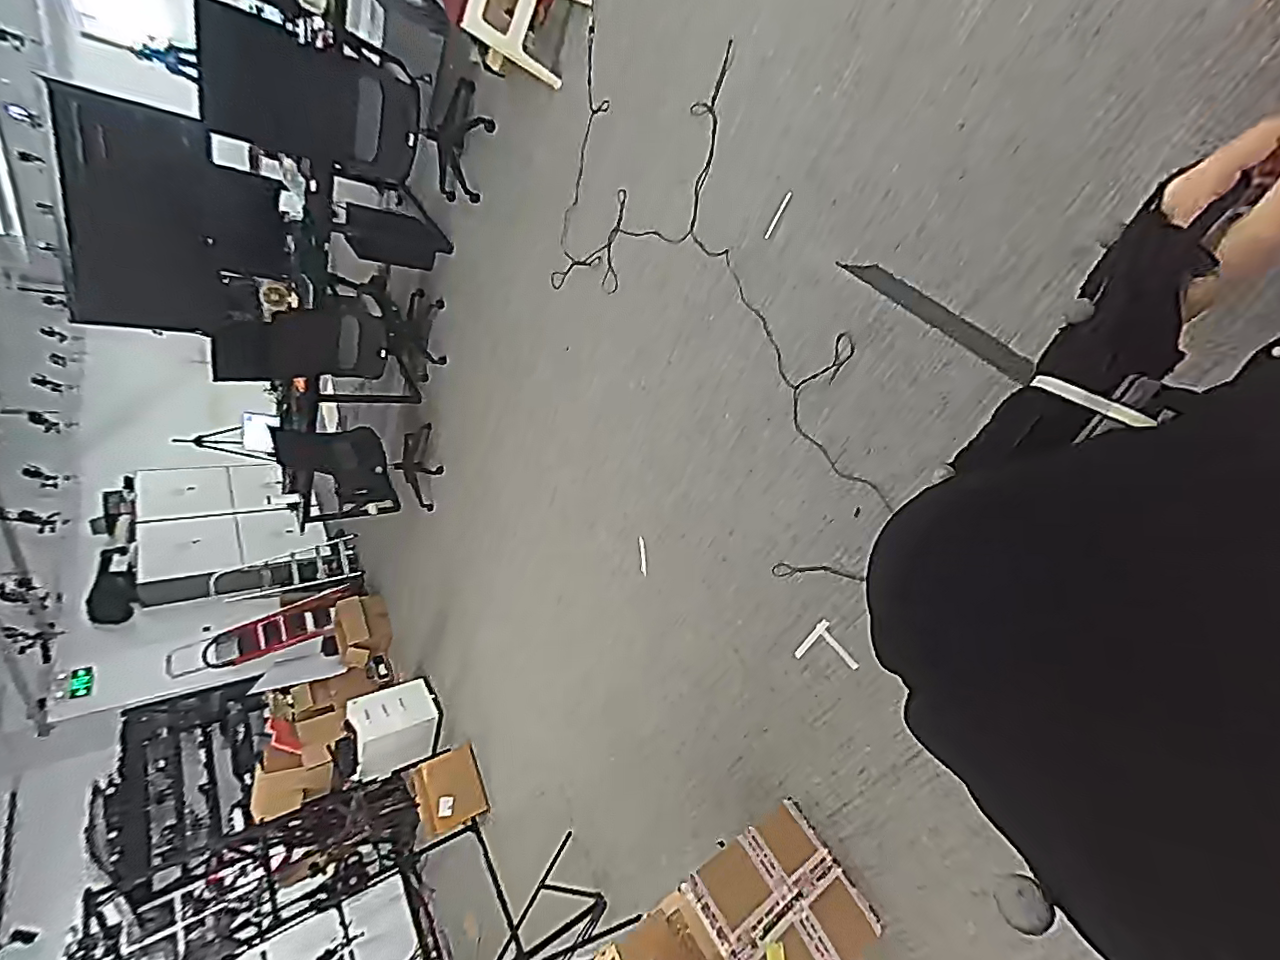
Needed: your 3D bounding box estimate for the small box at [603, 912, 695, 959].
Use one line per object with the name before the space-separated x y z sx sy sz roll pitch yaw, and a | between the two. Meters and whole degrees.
small box | 0.034 1.321 1.467 0.179 0.176 0.168 52 129 34
